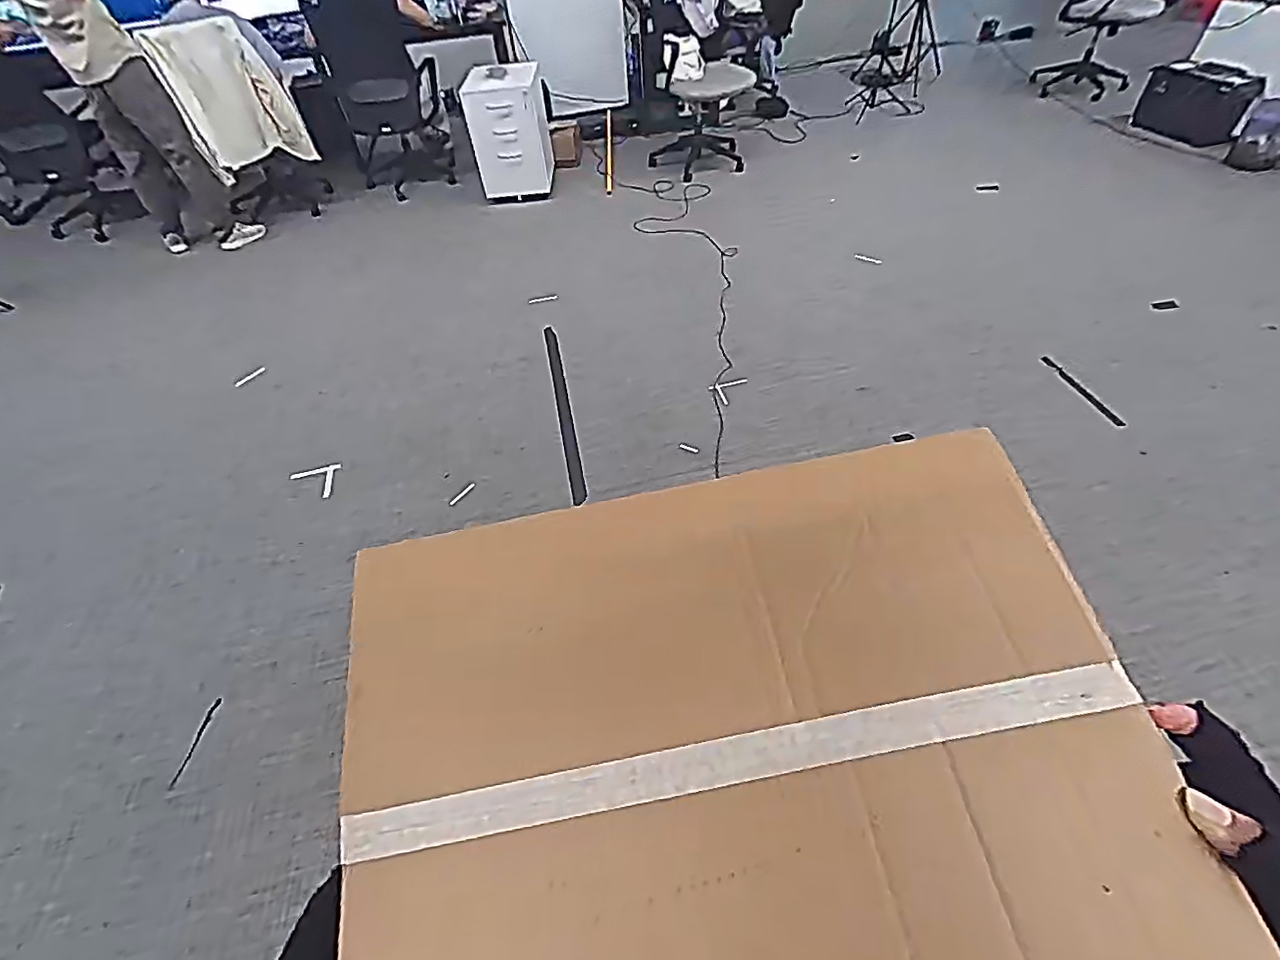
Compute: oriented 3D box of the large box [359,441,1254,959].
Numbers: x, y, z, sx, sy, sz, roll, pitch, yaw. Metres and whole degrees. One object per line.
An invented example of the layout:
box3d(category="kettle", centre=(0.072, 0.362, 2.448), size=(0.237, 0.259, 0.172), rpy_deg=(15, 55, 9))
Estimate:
box3d(category="large box", centre=(0.062, 0.214, 0.417), size=(0.408, 0.320, 0.320), rpy_deg=(-12, 64, 0))
